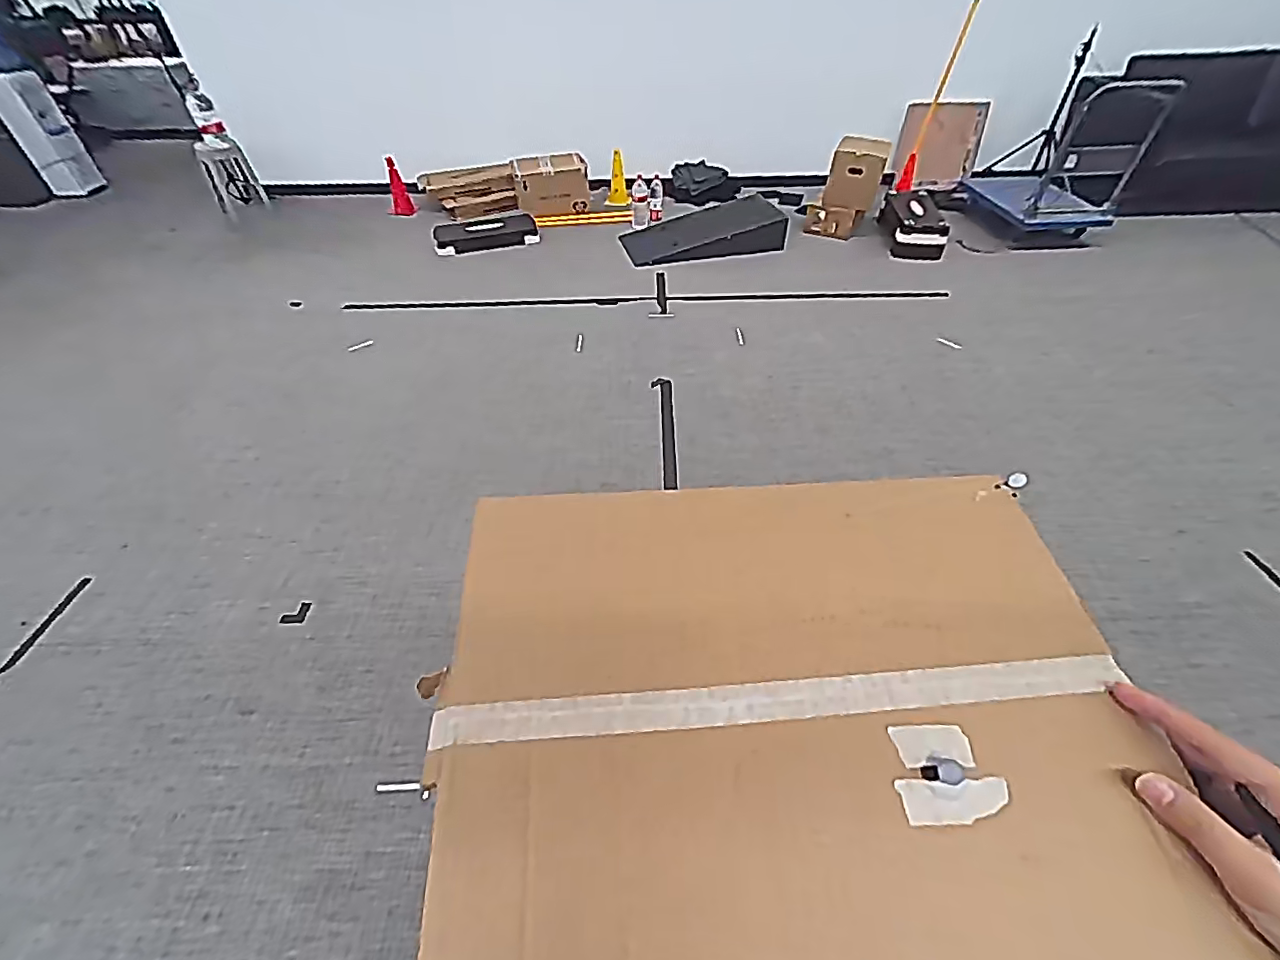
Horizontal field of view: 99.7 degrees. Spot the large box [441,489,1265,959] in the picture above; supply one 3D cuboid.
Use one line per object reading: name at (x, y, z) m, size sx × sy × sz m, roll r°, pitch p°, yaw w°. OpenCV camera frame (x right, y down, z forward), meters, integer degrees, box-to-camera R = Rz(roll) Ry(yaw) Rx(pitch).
large box at (0.087, 0.229, 0.443) m, size 0.408 × 0.320 × 0.320 m, roll -3°, pitch 53°, yaw -5°
